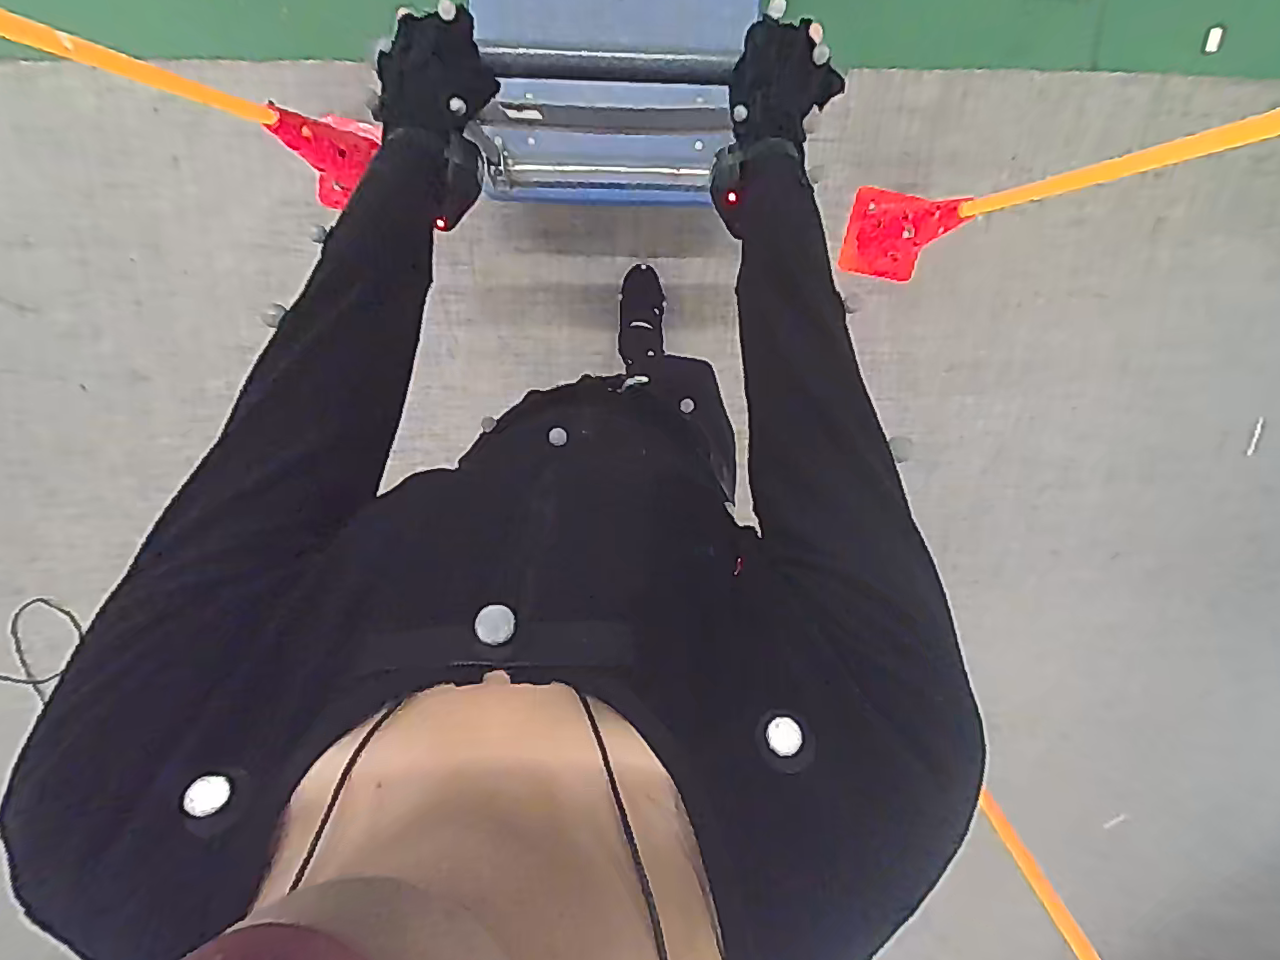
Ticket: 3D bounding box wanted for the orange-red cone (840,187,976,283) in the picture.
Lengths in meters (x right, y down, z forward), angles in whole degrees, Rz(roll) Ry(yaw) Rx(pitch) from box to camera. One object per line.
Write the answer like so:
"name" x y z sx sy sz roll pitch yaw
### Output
"orange-red cone" 0.620 -0.563 1.193 0.198 0.360 0.199 11 107 -4
